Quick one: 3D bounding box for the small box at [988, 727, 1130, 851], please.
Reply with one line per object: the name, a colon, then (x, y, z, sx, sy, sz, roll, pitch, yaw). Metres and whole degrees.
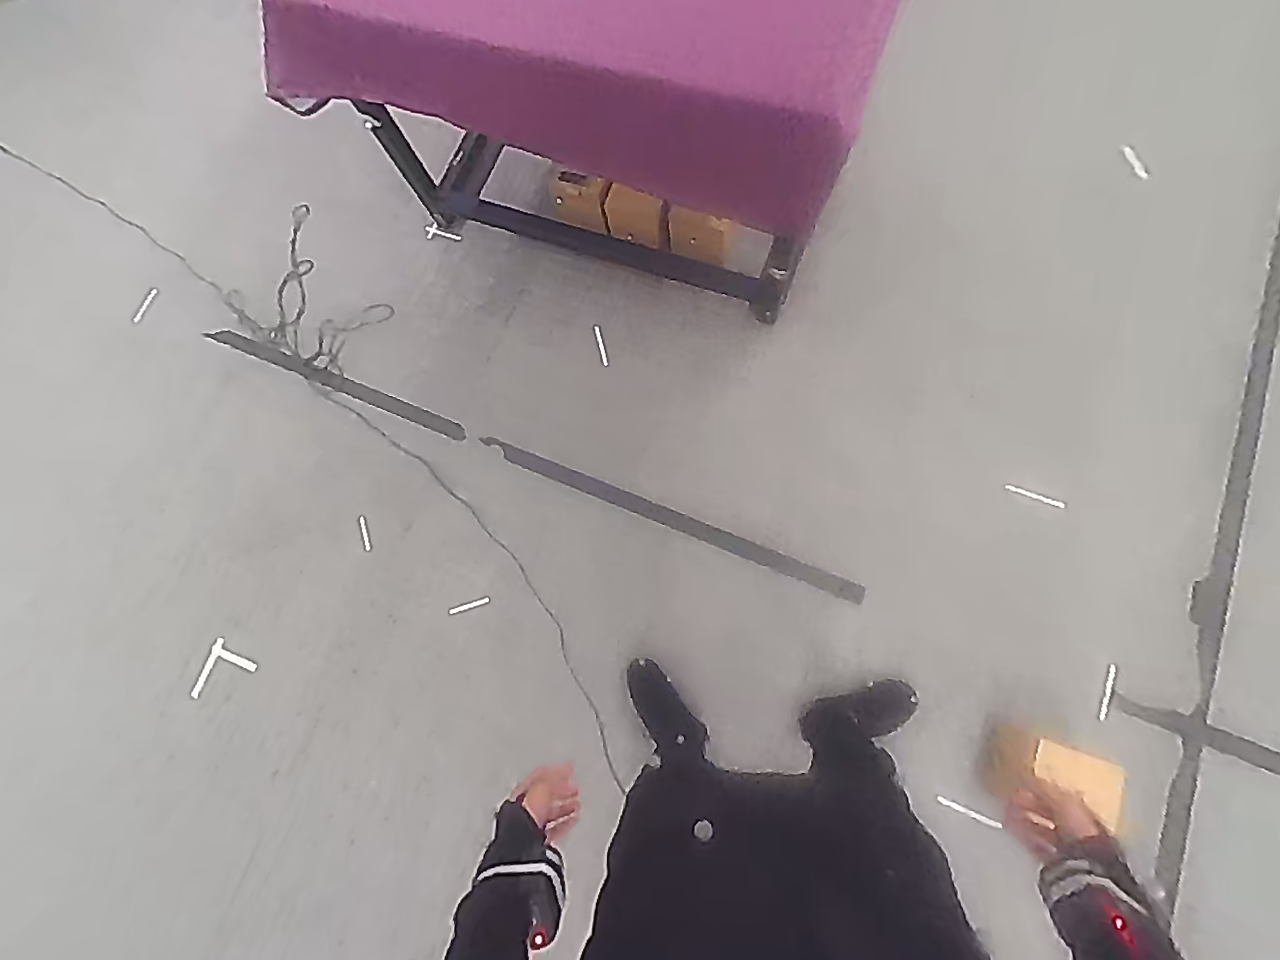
small box: (0.921, 0.672, 1.201, 0.179, 0.176, 0.168, 17, 80, 11)
